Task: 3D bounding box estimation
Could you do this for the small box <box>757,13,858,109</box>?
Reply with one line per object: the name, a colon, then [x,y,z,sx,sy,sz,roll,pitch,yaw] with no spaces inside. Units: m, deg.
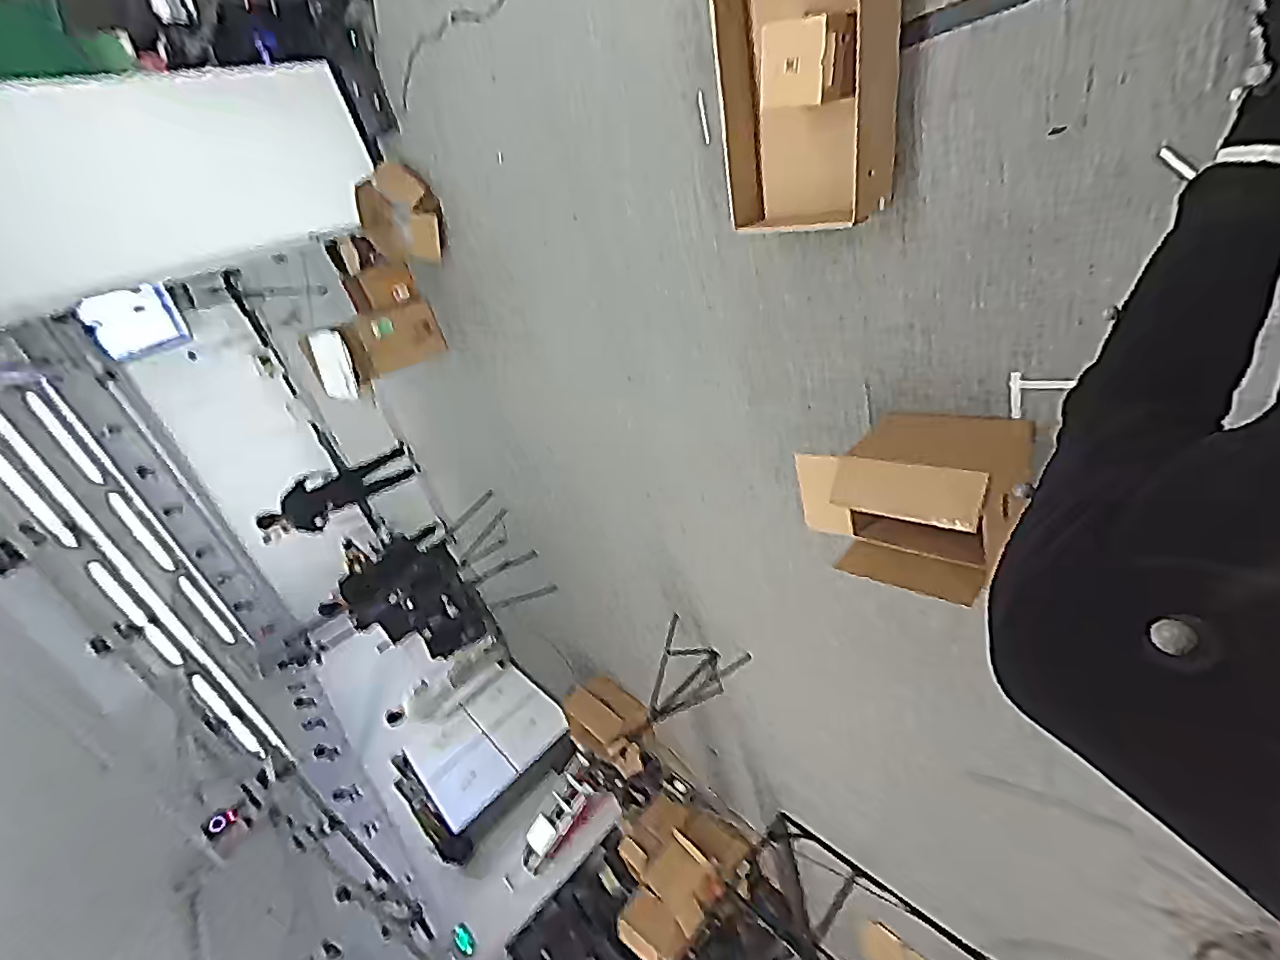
small box: [0.405,-1.014,1.312,0.179,0.176,0.168,27,140,37]
